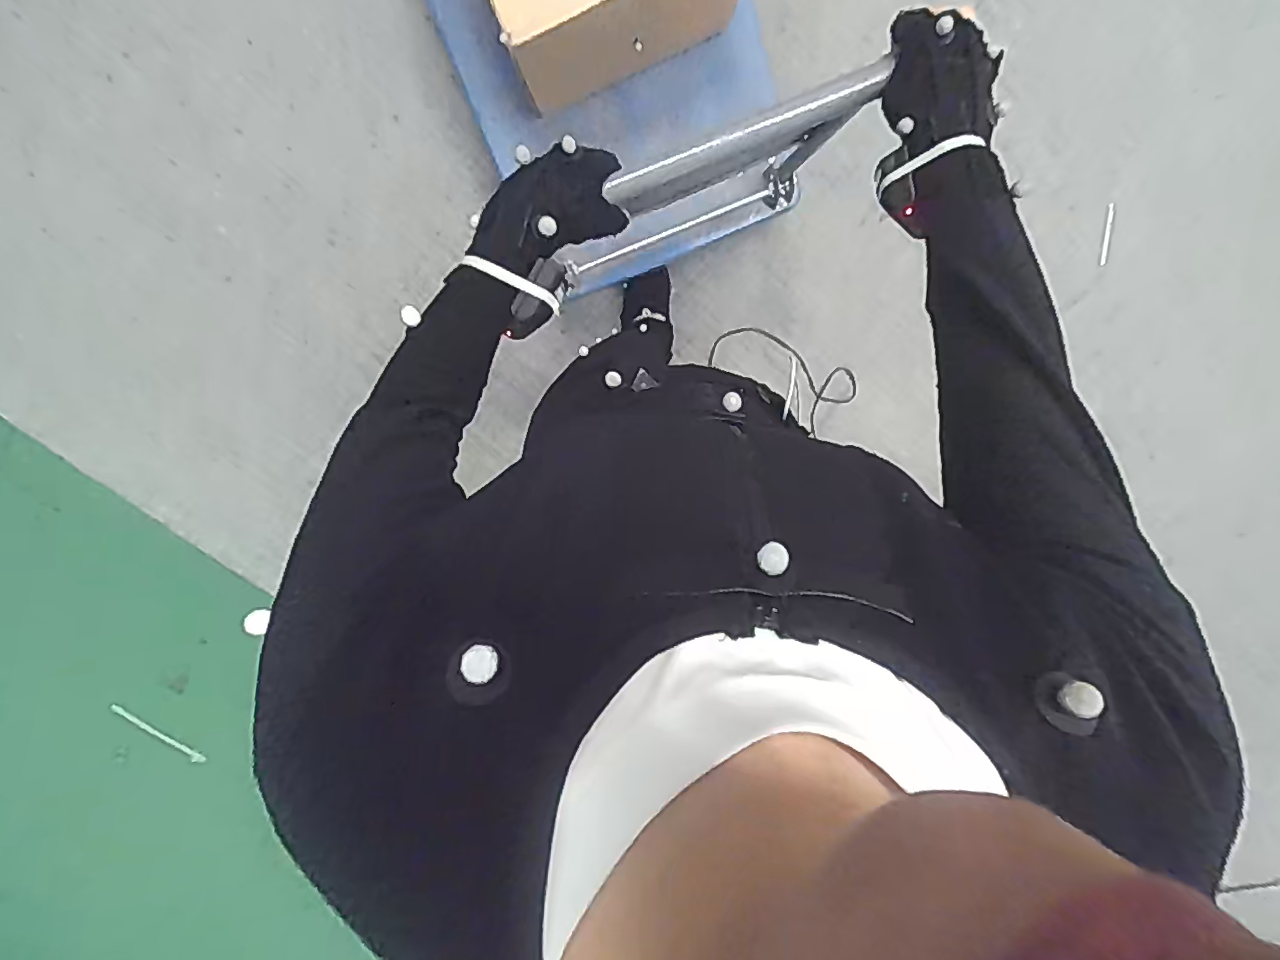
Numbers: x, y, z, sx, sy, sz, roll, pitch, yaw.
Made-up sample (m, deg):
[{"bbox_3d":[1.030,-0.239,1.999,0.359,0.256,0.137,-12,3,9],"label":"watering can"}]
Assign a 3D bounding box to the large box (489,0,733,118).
[{"bbox_3d":[-0.070,-0.888,0.884,0.408,0.320,0.320,-23,105,6],"label":"large box"}]
